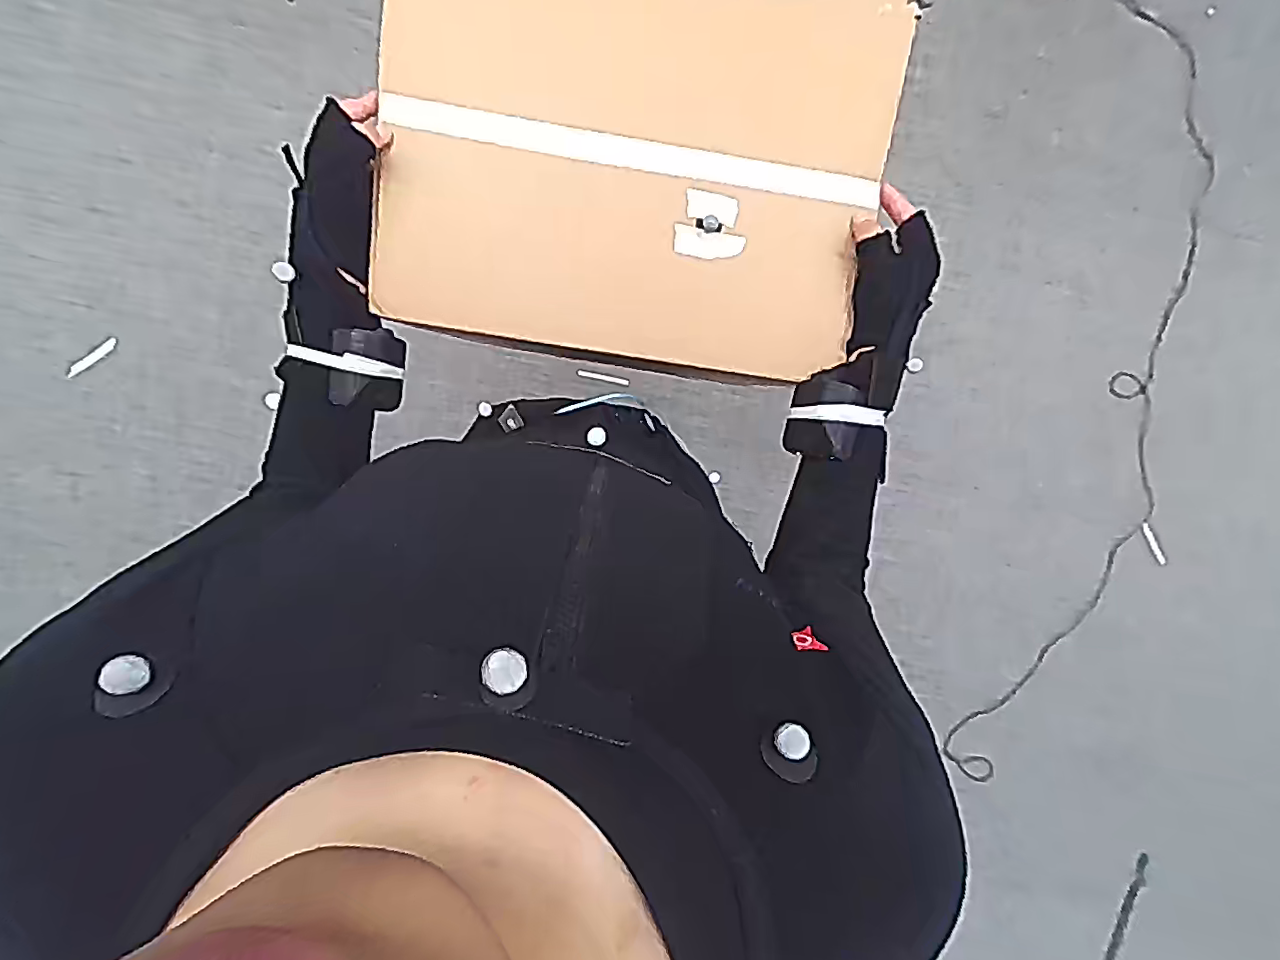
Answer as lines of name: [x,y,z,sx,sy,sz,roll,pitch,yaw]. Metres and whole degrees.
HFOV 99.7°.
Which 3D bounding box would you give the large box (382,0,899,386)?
large box: [-0.014,-0.284,0.594,0.408,0.320,0.320,8,101,-5]
